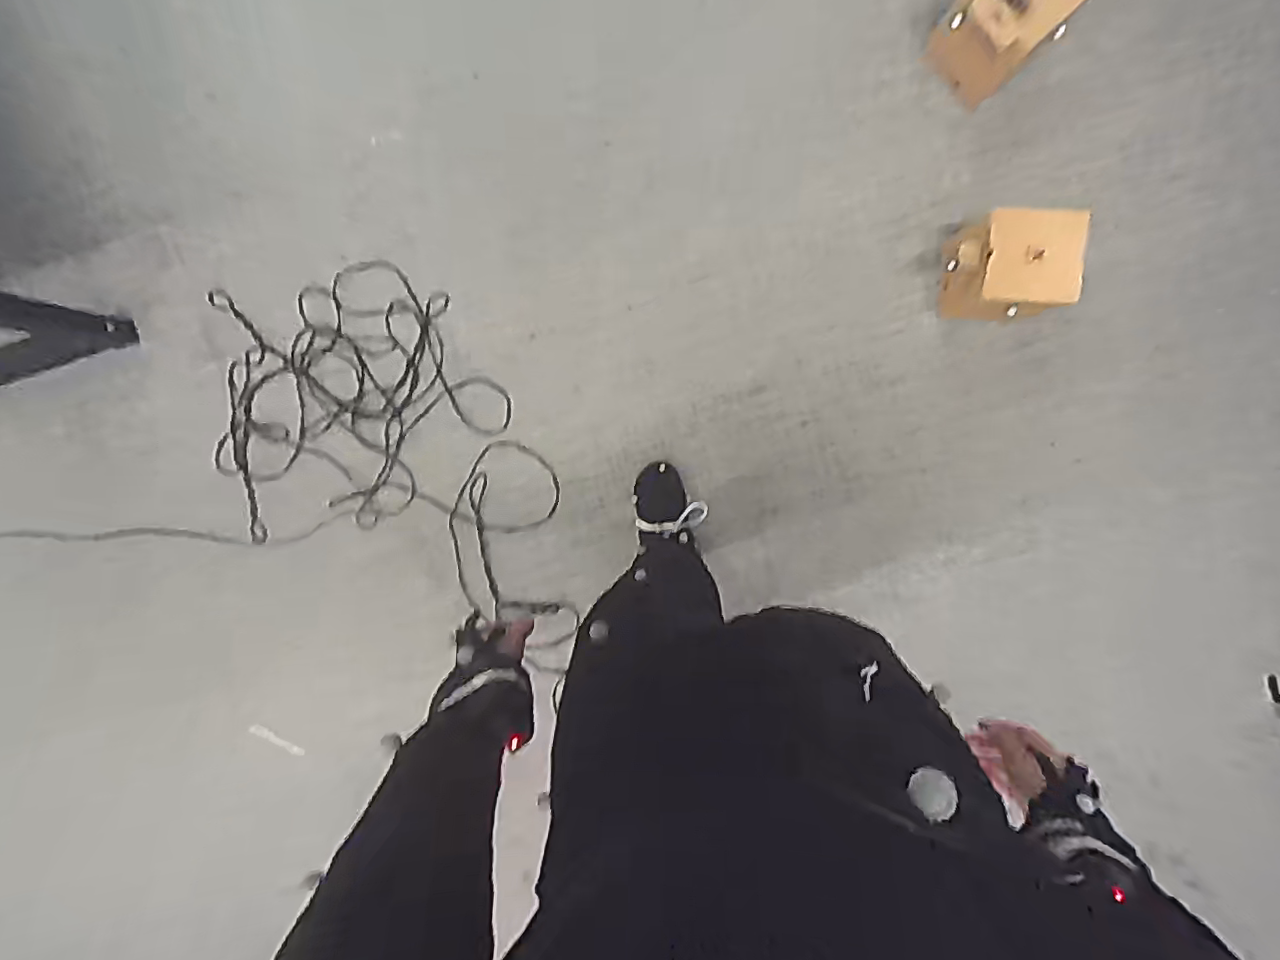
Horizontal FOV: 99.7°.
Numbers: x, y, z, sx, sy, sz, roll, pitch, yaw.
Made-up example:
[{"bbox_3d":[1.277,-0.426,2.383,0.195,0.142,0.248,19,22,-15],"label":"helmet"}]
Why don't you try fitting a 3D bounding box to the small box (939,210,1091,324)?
[{"bbox_3d":[0.727,-0.409,1.064,0.179,0.176,0.168,4,94,2],"label":"small box"}]
